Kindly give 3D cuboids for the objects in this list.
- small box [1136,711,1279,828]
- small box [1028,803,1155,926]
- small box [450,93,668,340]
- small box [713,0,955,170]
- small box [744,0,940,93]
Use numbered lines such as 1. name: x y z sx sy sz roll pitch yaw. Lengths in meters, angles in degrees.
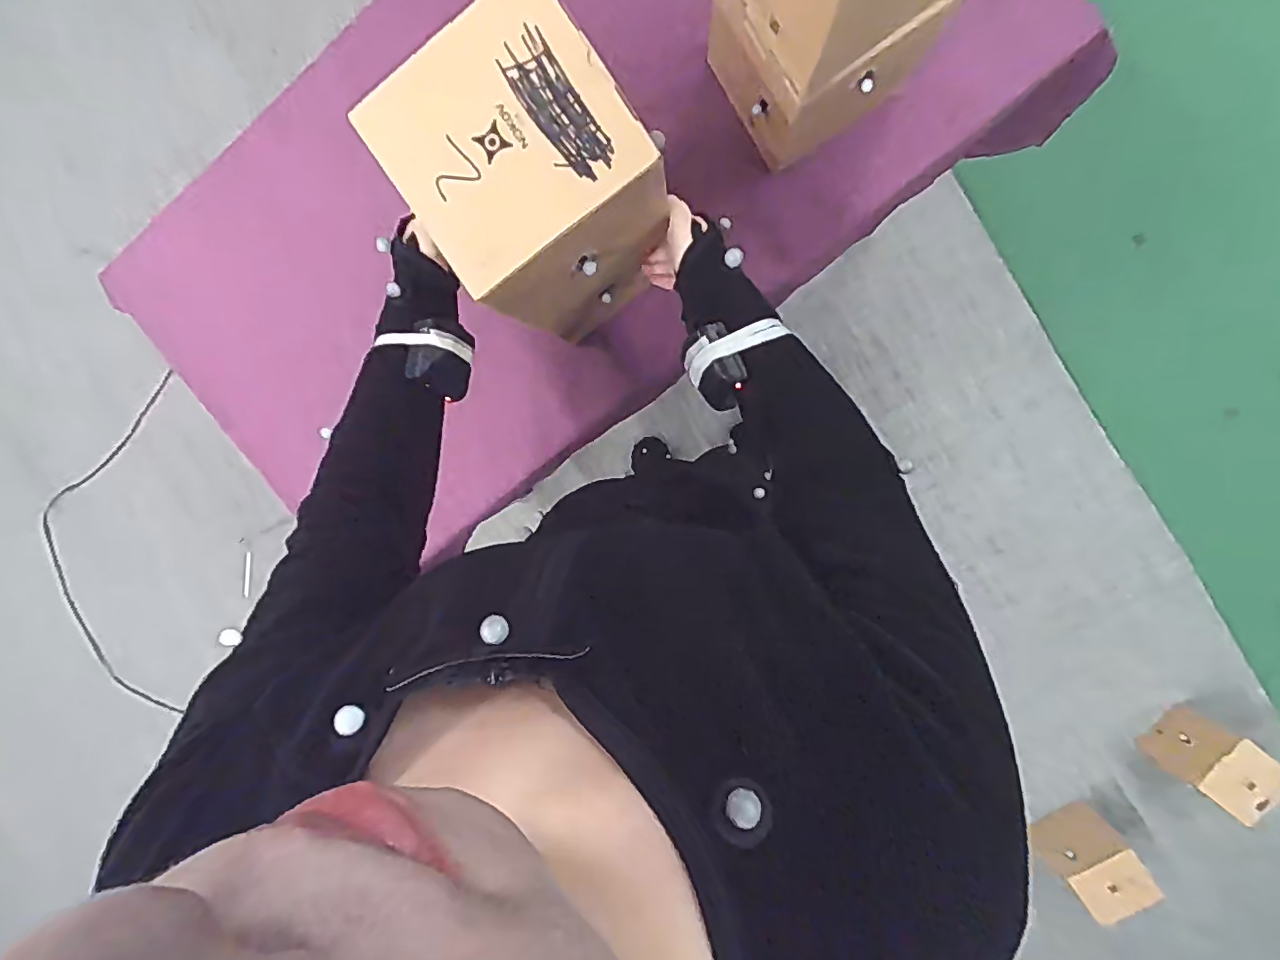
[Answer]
1. small box: 1.447 0.724 1.380 0.179 0.176 0.168 38 99 -1
2. small box: 1.184 1.017 1.441 0.179 0.176 0.168 -35 94 9
3. small box: -0.079 -0.286 0.637 0.179 0.176 0.168 -36 93 8
4. small box: 0.190 -0.483 0.588 0.179 0.176 0.168 -30 95 8
5. small box: 0.173 -0.465 0.427 0.179 0.176 0.168 -32 94 8
